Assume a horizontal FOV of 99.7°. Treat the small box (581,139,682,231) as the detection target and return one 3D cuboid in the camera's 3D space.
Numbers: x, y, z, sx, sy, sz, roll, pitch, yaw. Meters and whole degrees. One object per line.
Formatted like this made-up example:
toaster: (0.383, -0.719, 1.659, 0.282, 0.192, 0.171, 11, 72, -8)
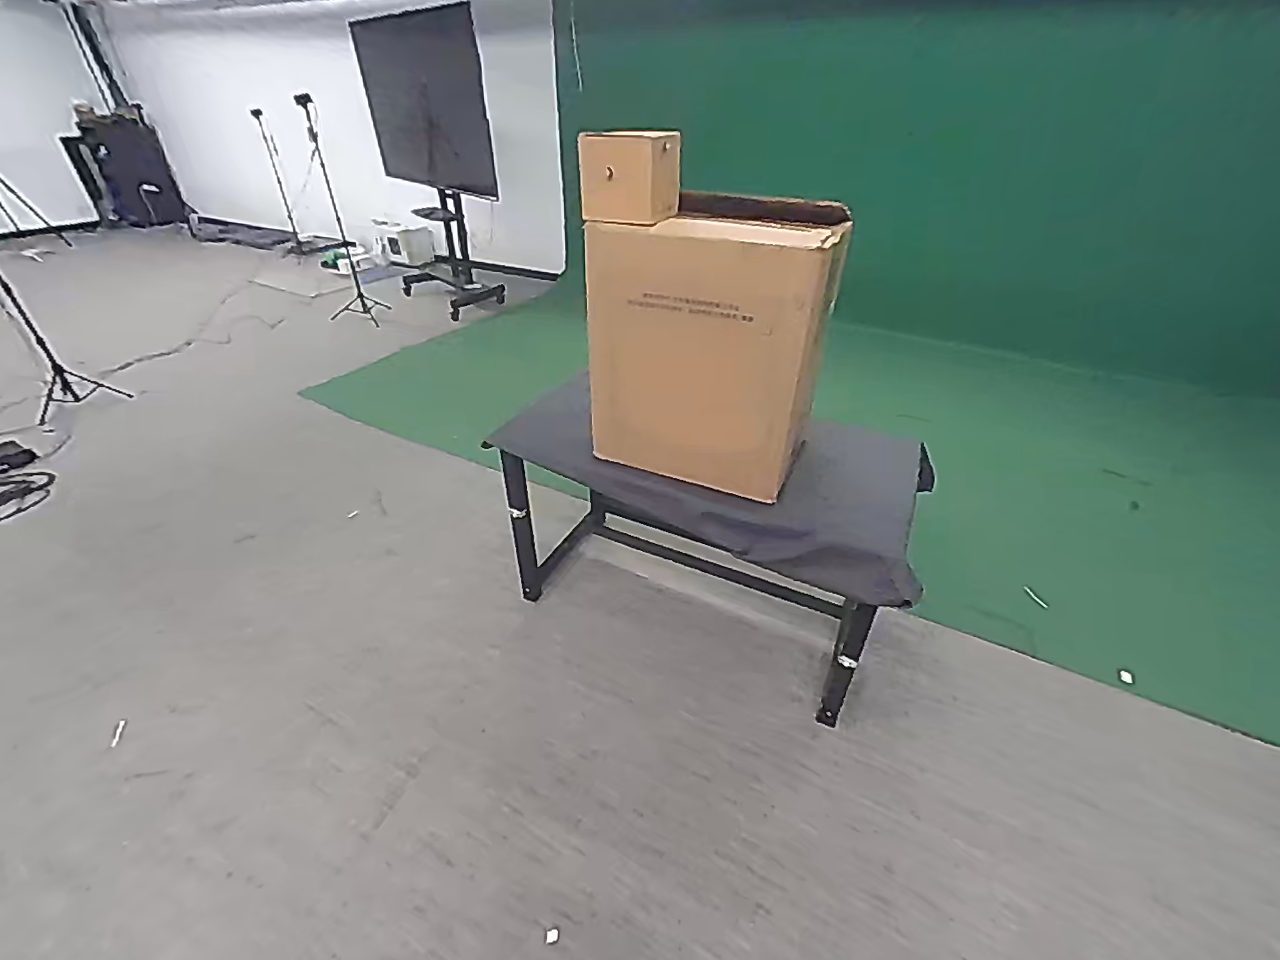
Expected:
small box: (-0.014, -0.672, 1.231, 0.179, 0.176, 0.168, 13, 38, 21)
